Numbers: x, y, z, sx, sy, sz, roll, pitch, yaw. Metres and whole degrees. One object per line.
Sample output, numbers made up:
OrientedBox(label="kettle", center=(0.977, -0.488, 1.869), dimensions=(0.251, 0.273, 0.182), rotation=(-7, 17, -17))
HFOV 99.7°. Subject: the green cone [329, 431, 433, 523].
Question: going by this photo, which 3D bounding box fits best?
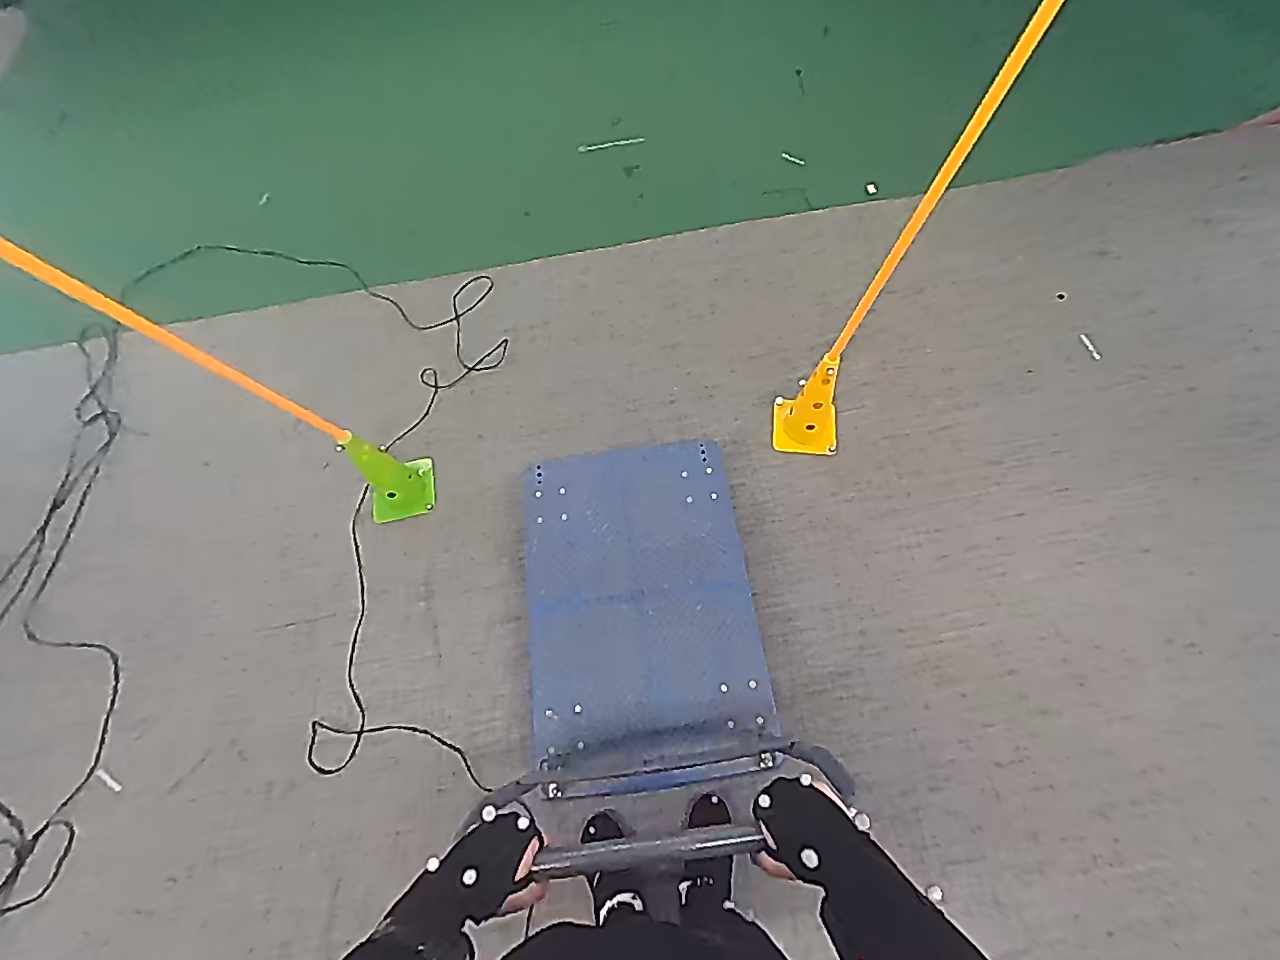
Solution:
OrientedBox(label="green cone", center=(-0.791, -0.042, 1.605), dimensions=(0.202, 0.368, 0.200), rotation=(-14, 64, -1))
